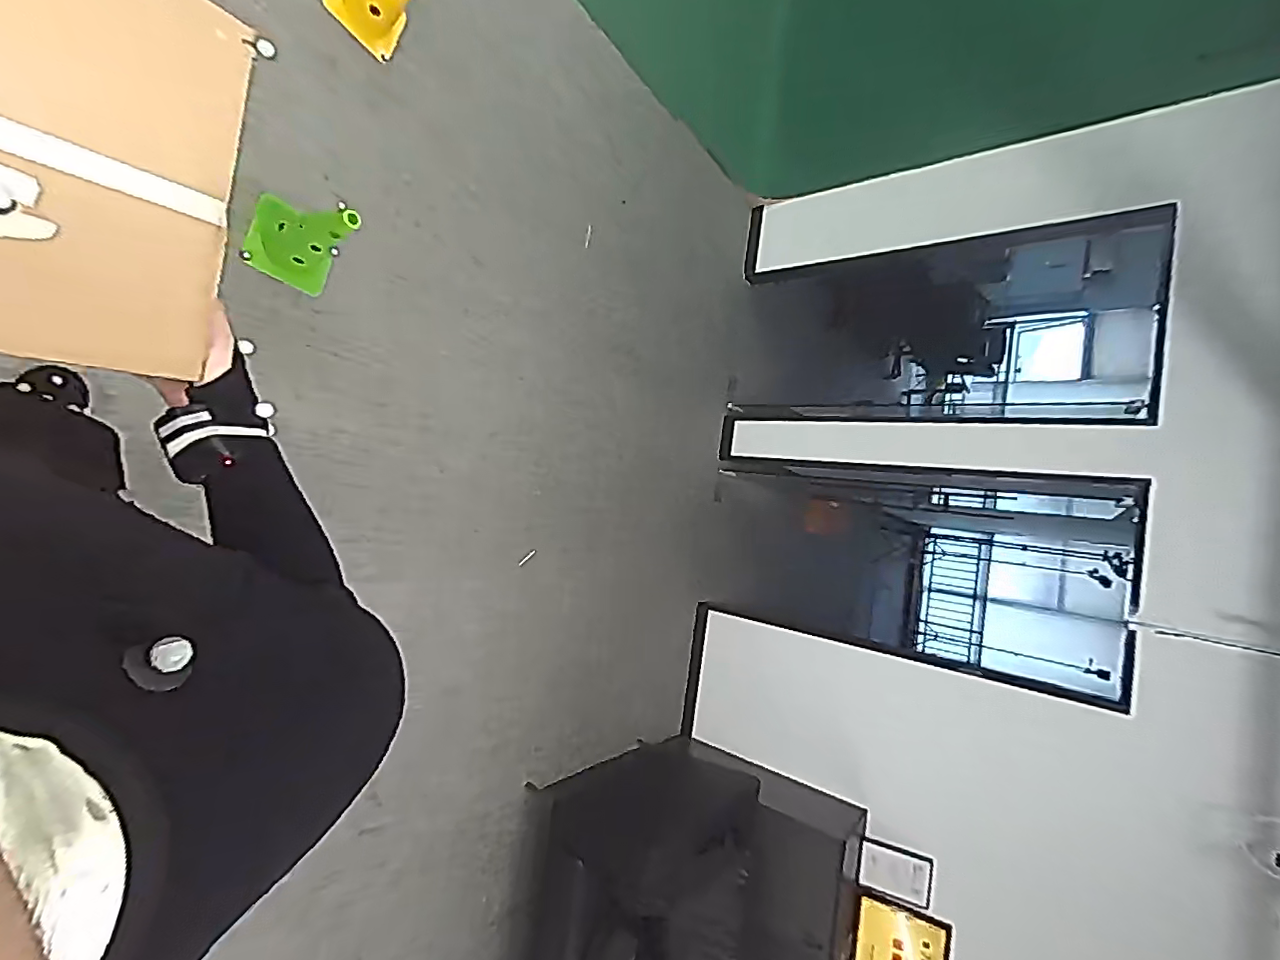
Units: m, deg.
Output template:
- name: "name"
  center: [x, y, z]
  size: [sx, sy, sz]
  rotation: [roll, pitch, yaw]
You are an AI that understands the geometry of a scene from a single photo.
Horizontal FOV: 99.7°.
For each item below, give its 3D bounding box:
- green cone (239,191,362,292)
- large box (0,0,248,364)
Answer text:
- name: "green cone"
  center: [-0.806, -0.629, 1.357]
  size: [0.200, 0.368, 0.202]
  rotation: [24, 74, -52]
- name: "large box"
  center: [-0.606, -0.301, 0.399]
  size: [0.408, 0.320, 0.320]
  rotation: [1, 110, -59]
